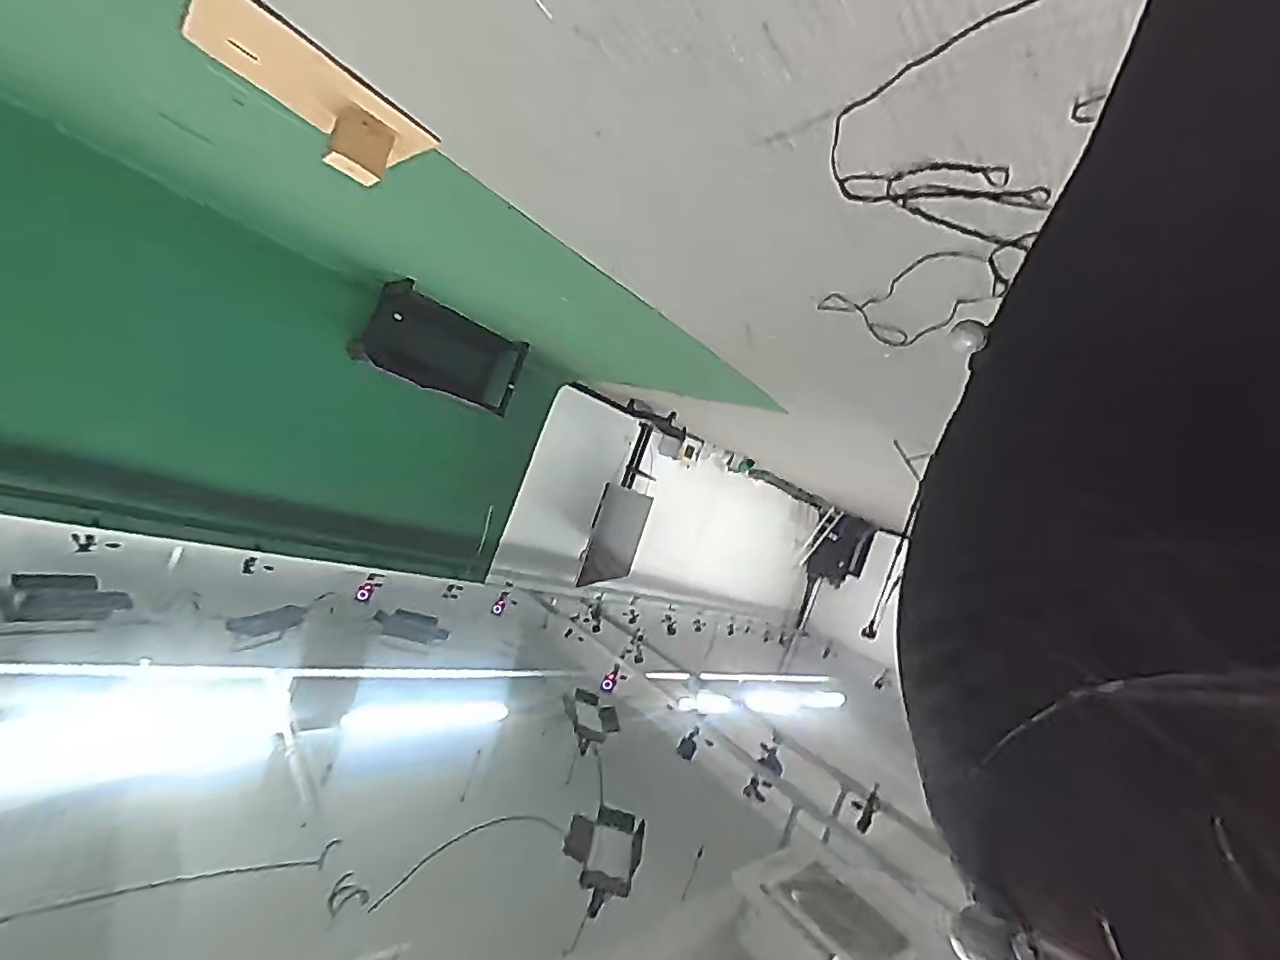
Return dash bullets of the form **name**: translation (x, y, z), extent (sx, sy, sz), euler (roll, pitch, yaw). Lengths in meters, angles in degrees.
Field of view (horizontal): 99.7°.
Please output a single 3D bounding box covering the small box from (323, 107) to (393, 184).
- **small box**: translation (-1.047, -1.242, 2.013), extent (0.168, 0.176, 0.179), euler (18, -179, -45)
